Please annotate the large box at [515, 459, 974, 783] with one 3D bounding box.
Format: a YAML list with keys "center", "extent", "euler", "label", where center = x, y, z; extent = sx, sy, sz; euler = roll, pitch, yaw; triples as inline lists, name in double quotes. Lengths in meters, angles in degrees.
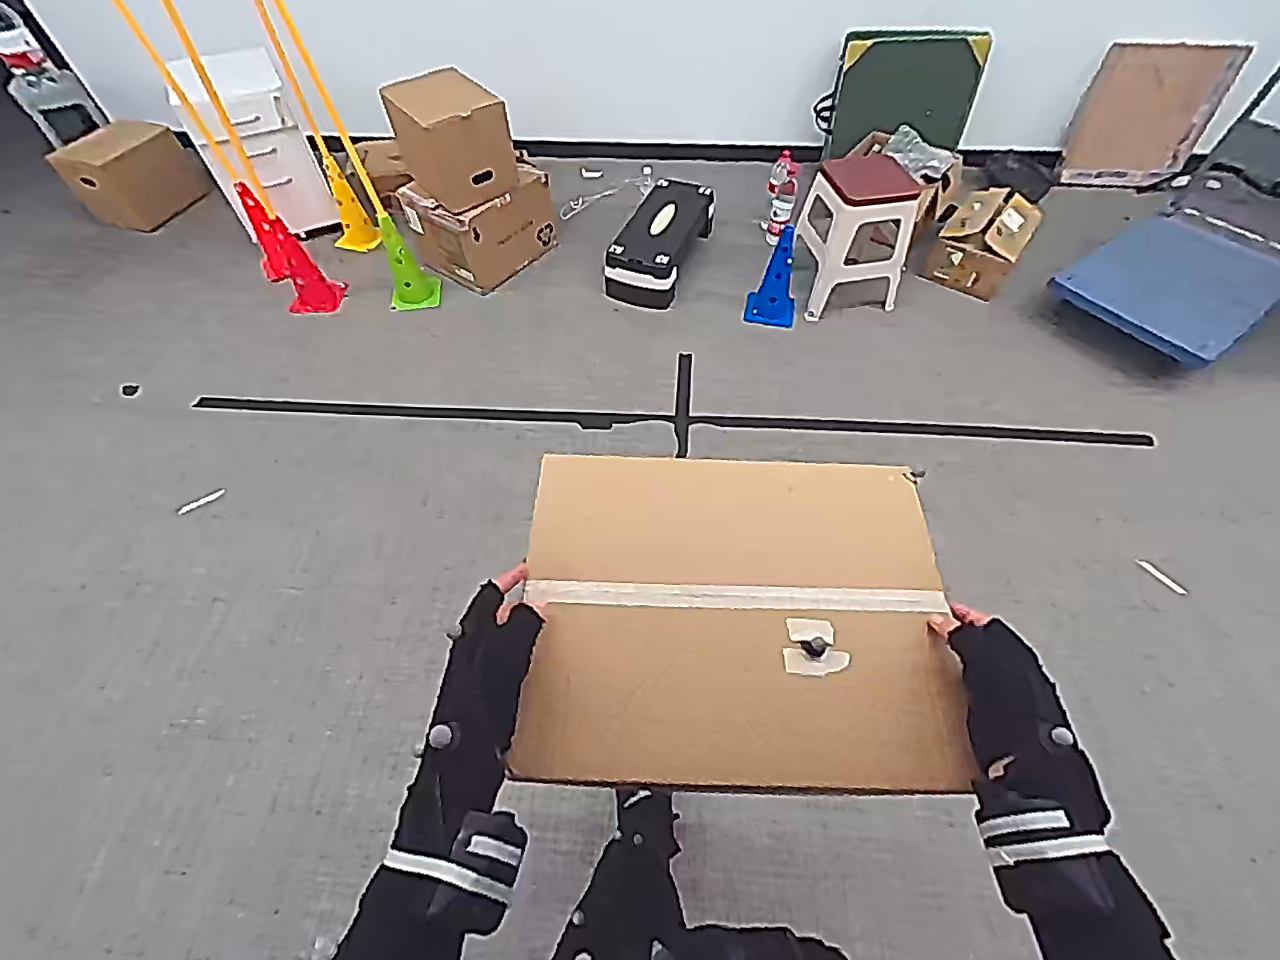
- center: [0.085, 0.187, 0.661]
  extent: [0.408, 0.320, 0.320]
  euler: [2, 60, -1]
  label: "large box"
